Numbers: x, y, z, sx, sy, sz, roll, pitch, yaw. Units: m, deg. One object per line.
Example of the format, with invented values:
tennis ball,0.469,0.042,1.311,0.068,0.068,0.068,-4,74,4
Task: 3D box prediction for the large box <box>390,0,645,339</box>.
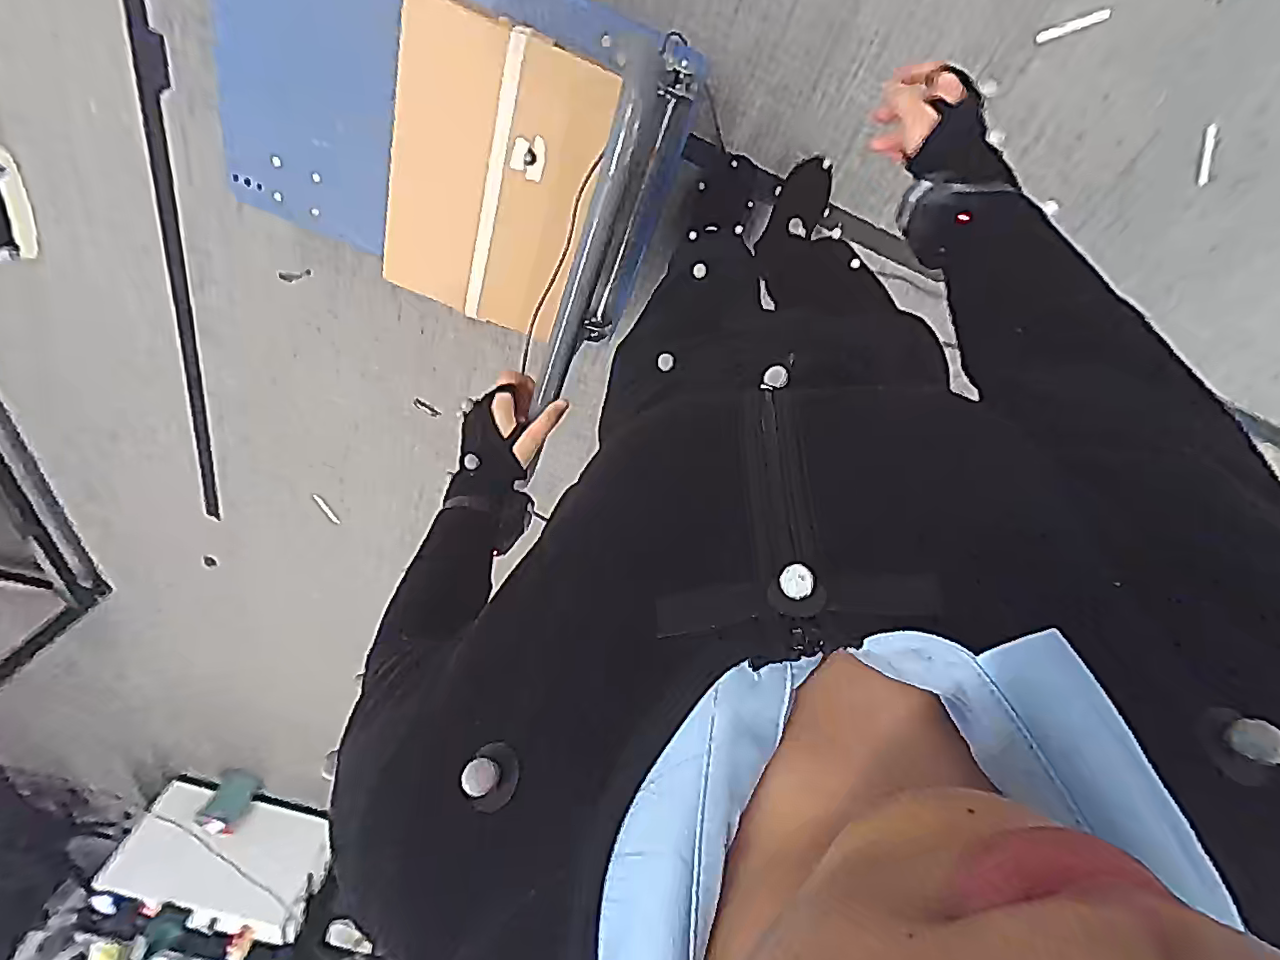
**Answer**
large box,-0.209,-0.530,0.958,0.320,0.320,0.408,19,124,-8
